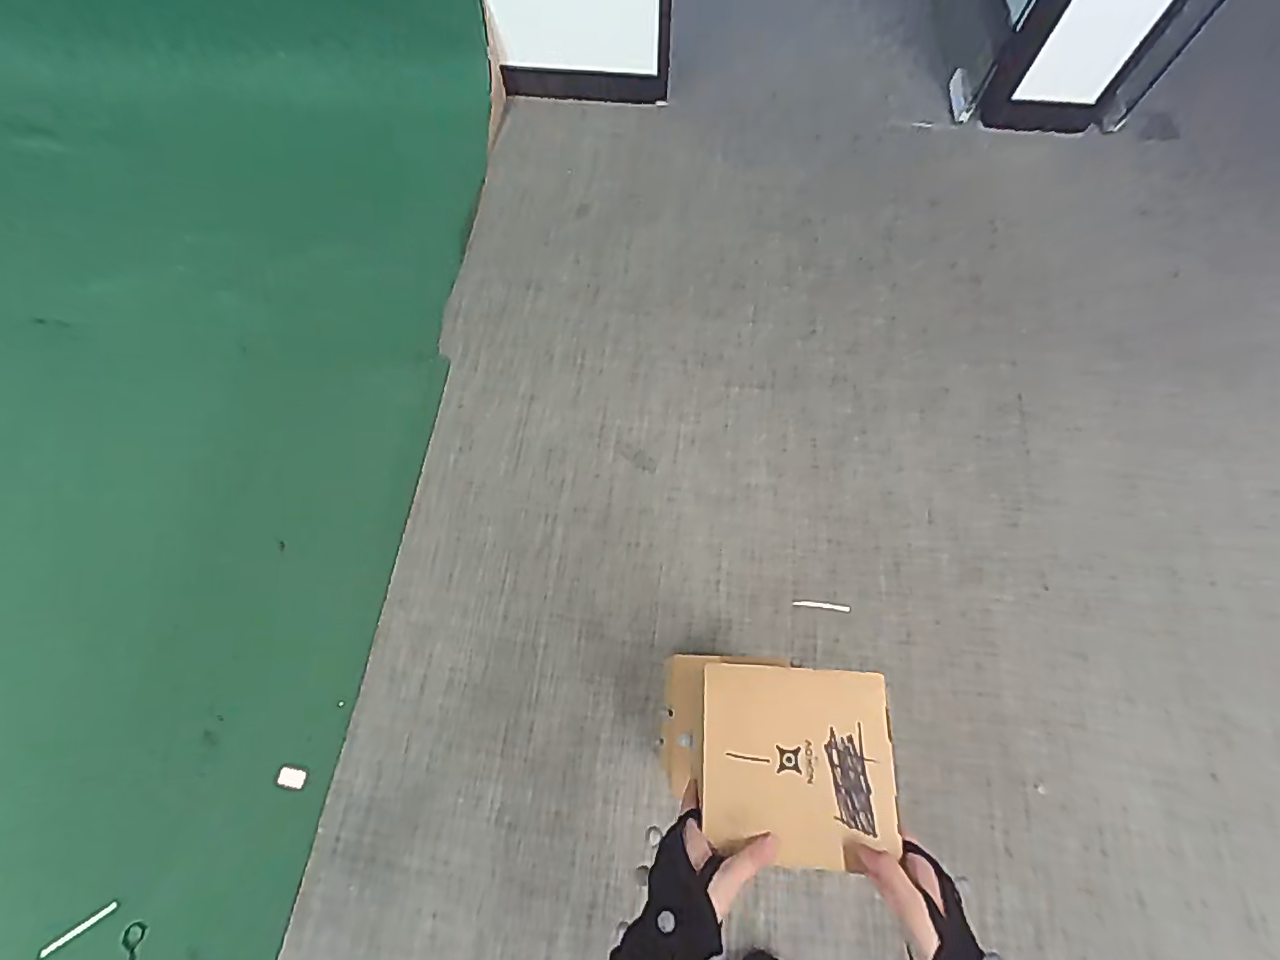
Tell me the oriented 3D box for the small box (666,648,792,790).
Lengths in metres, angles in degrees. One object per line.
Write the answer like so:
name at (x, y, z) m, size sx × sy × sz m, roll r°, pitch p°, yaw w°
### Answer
small box at (0.124, 0.345, 0.792) m, size 0.168 × 0.176 × 0.179 m, roll 2°, pitch 71°, yaw 2°

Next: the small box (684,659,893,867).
small box at (0.142, 0.285, 0.576) m, size 0.179 × 0.176 × 0.168 m, roll 2°, pitch 68°, yaw 3°
